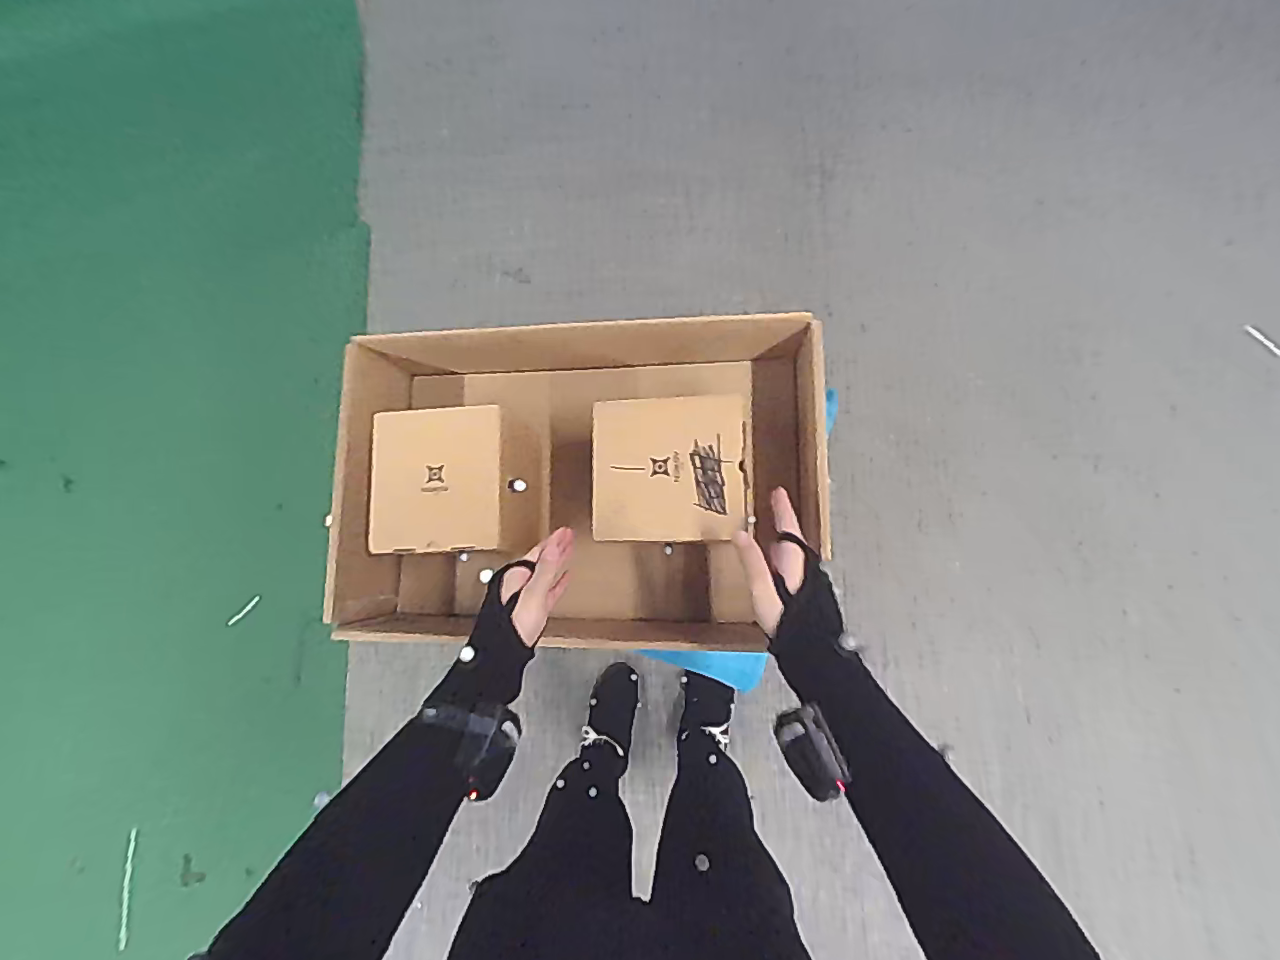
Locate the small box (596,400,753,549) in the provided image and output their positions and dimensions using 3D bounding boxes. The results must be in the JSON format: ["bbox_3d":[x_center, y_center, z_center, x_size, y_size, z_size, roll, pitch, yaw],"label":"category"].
[{"bbox_3d":[0.049,0.001,0.686,0.179,0.176,0.168,-1,81,10],"label":"small box"}]
